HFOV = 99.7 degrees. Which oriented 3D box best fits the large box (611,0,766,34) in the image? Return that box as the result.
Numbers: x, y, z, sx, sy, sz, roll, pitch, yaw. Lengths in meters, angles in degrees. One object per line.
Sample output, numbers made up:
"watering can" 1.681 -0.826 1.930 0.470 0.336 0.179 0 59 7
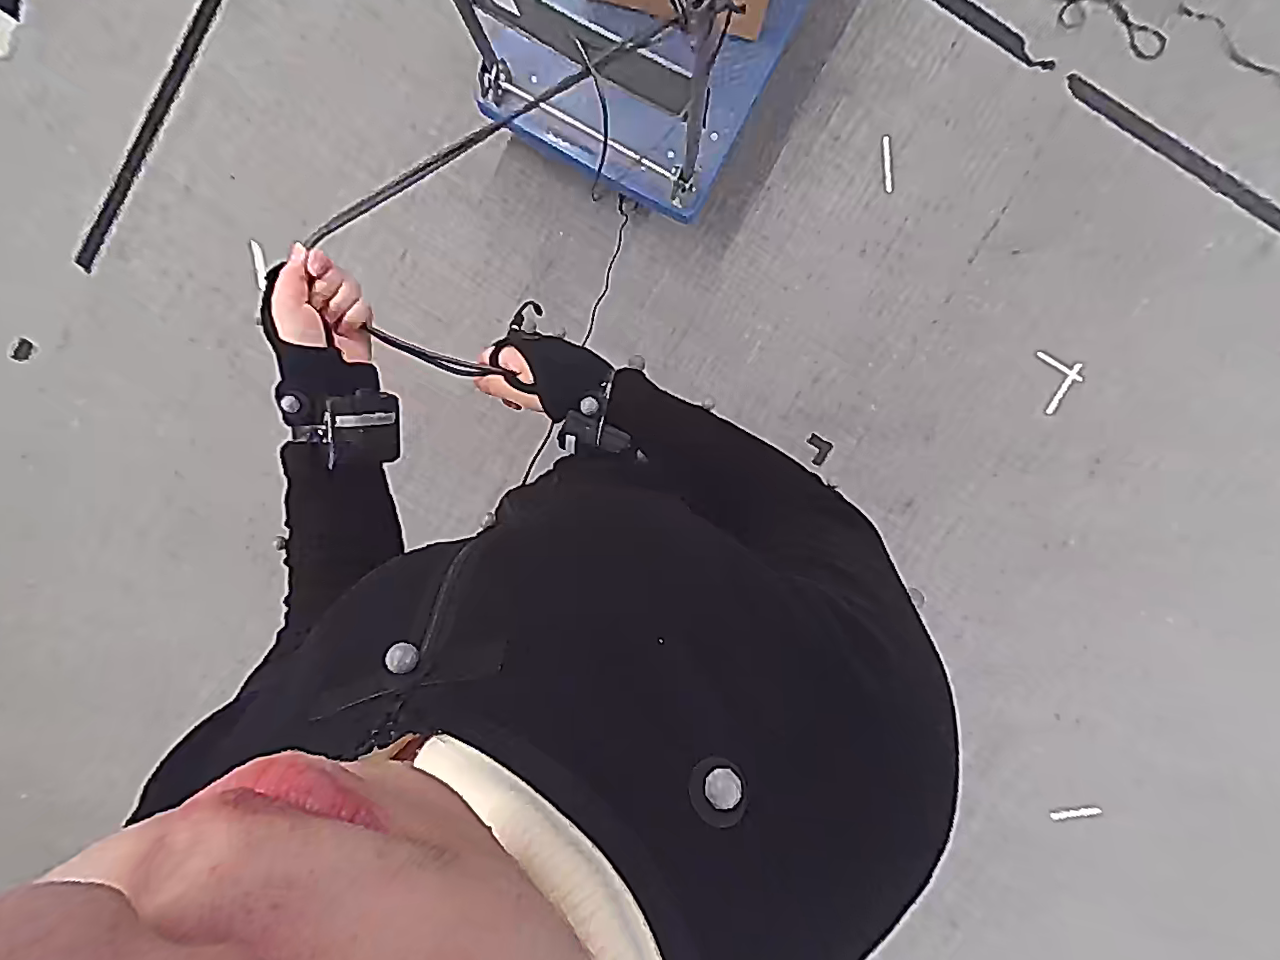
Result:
"large box" 0.097 -1.166 1.040 0.408 0.320 0.320 14 95 -1
